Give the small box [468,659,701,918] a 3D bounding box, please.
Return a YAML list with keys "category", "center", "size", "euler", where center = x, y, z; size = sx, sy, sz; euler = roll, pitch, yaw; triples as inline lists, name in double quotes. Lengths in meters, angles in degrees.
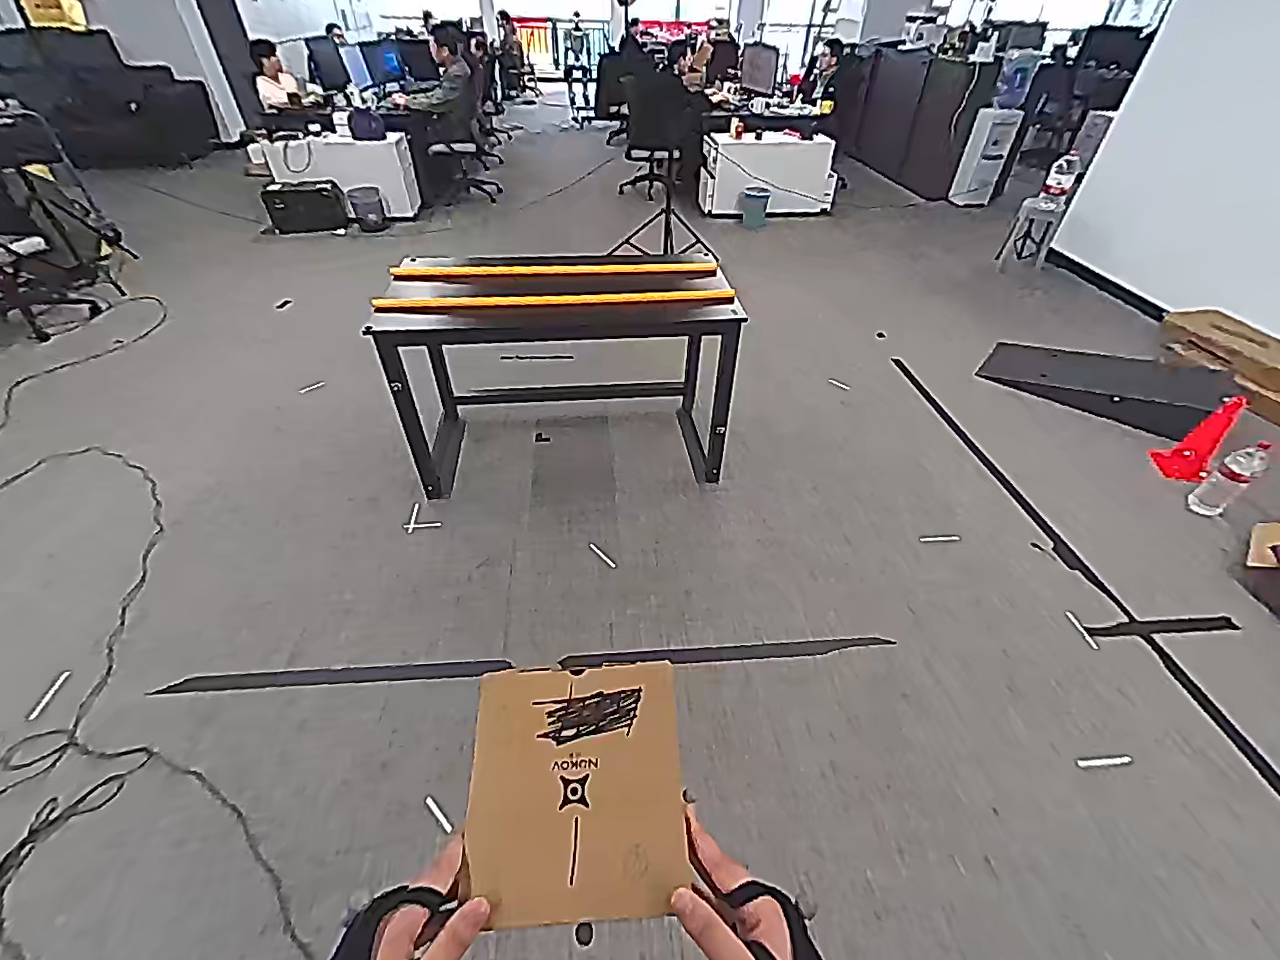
- category: "small box"
  center: [-0.040, 0.279, 0.488]
  size: [0.168, 0.176, 0.179]
  euler: [-4, 52, 0]
